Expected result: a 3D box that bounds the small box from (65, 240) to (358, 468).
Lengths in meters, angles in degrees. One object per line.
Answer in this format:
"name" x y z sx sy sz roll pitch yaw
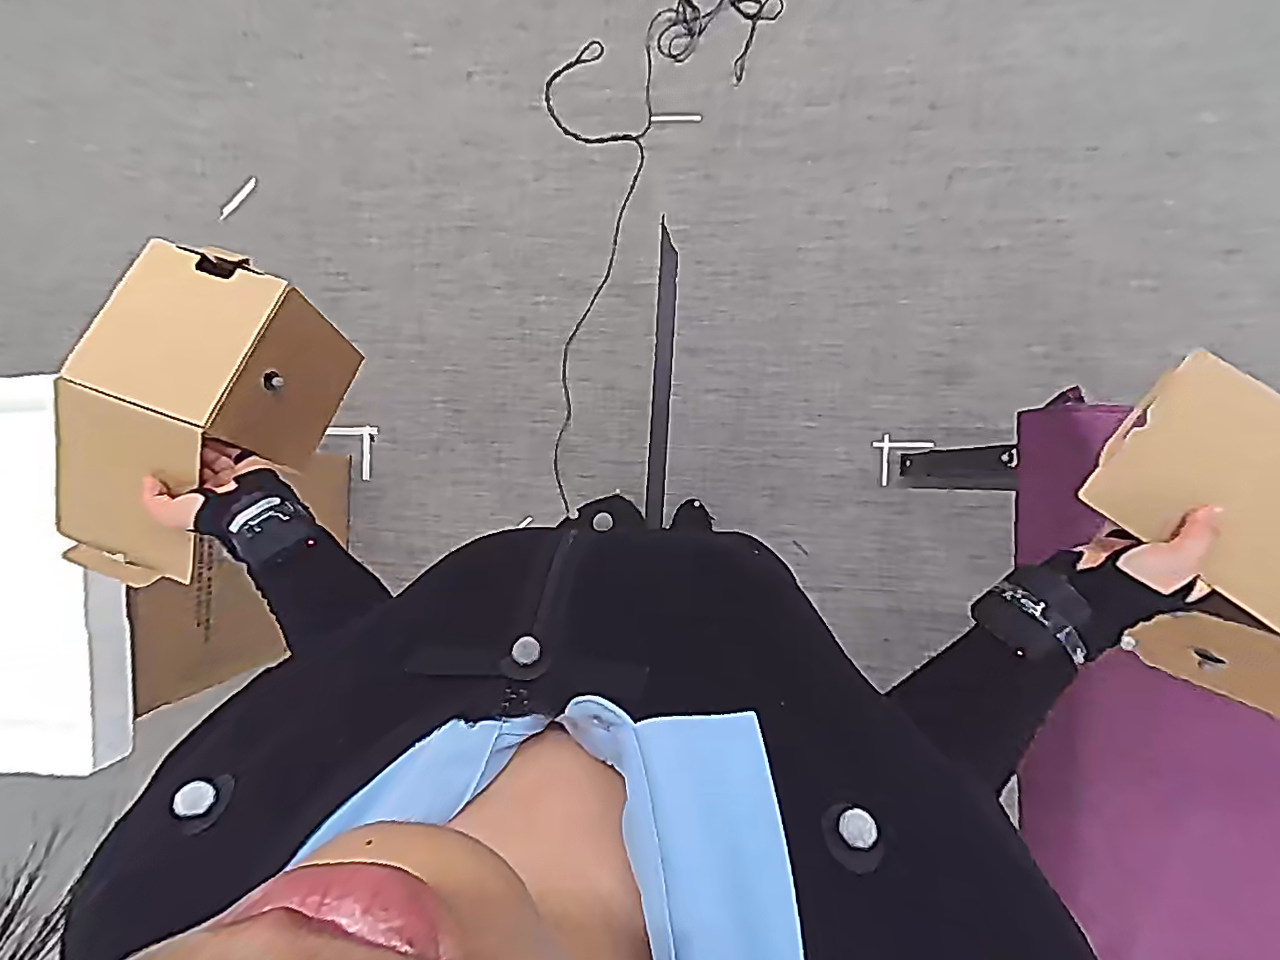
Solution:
"small box" -0.467 -0.132 0.626 0.168 0.176 0.179 19 75 4
